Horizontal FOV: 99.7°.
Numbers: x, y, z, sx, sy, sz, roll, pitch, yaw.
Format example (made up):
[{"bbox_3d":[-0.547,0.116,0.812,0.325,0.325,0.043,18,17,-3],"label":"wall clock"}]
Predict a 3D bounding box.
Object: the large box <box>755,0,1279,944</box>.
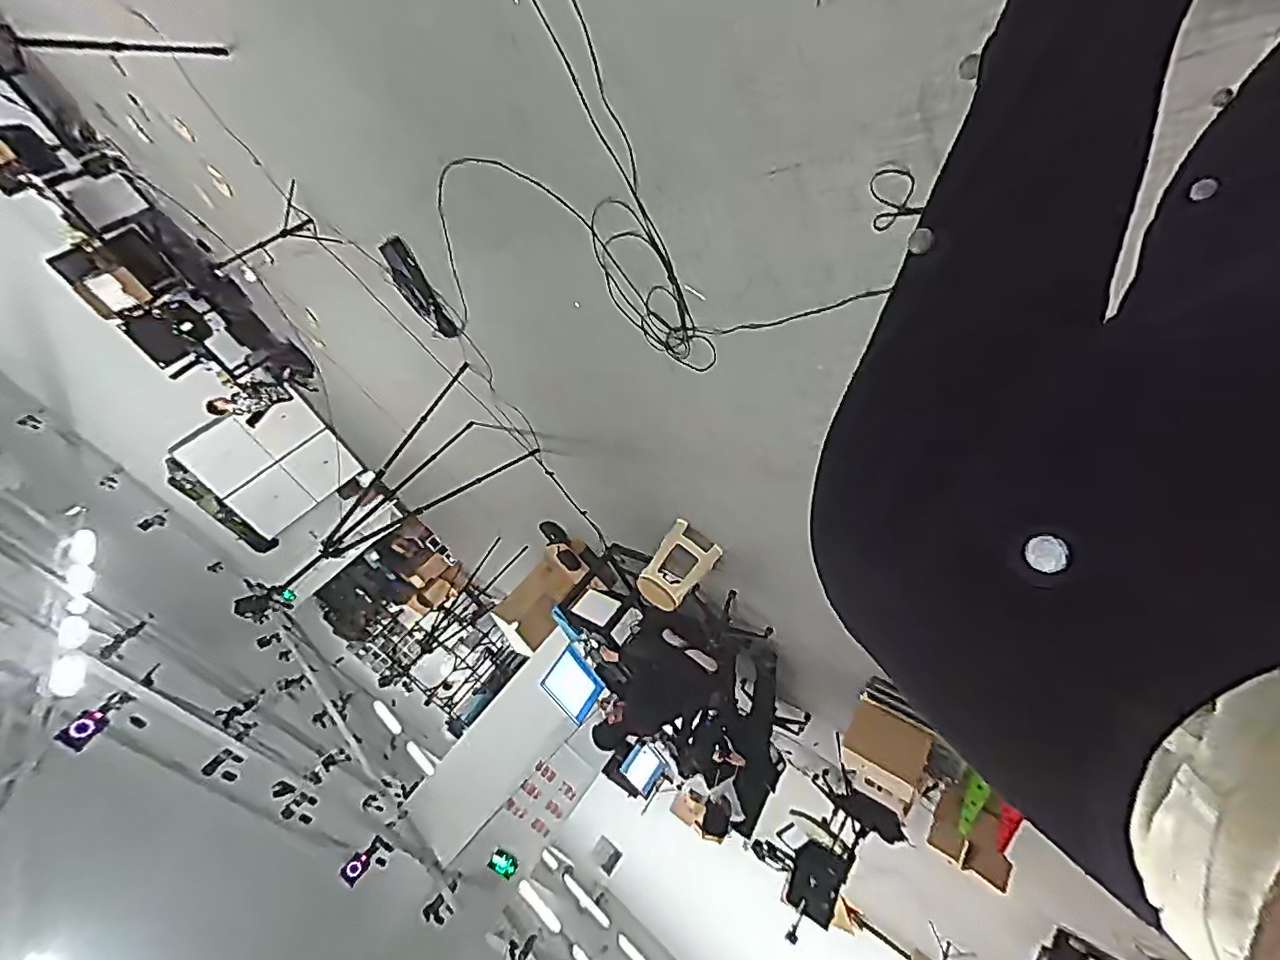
[{"bbox_3d":[0.292,-0.003,0.189,0.408,0.320,0.320,30,-178,11],"label":"large box"}]
